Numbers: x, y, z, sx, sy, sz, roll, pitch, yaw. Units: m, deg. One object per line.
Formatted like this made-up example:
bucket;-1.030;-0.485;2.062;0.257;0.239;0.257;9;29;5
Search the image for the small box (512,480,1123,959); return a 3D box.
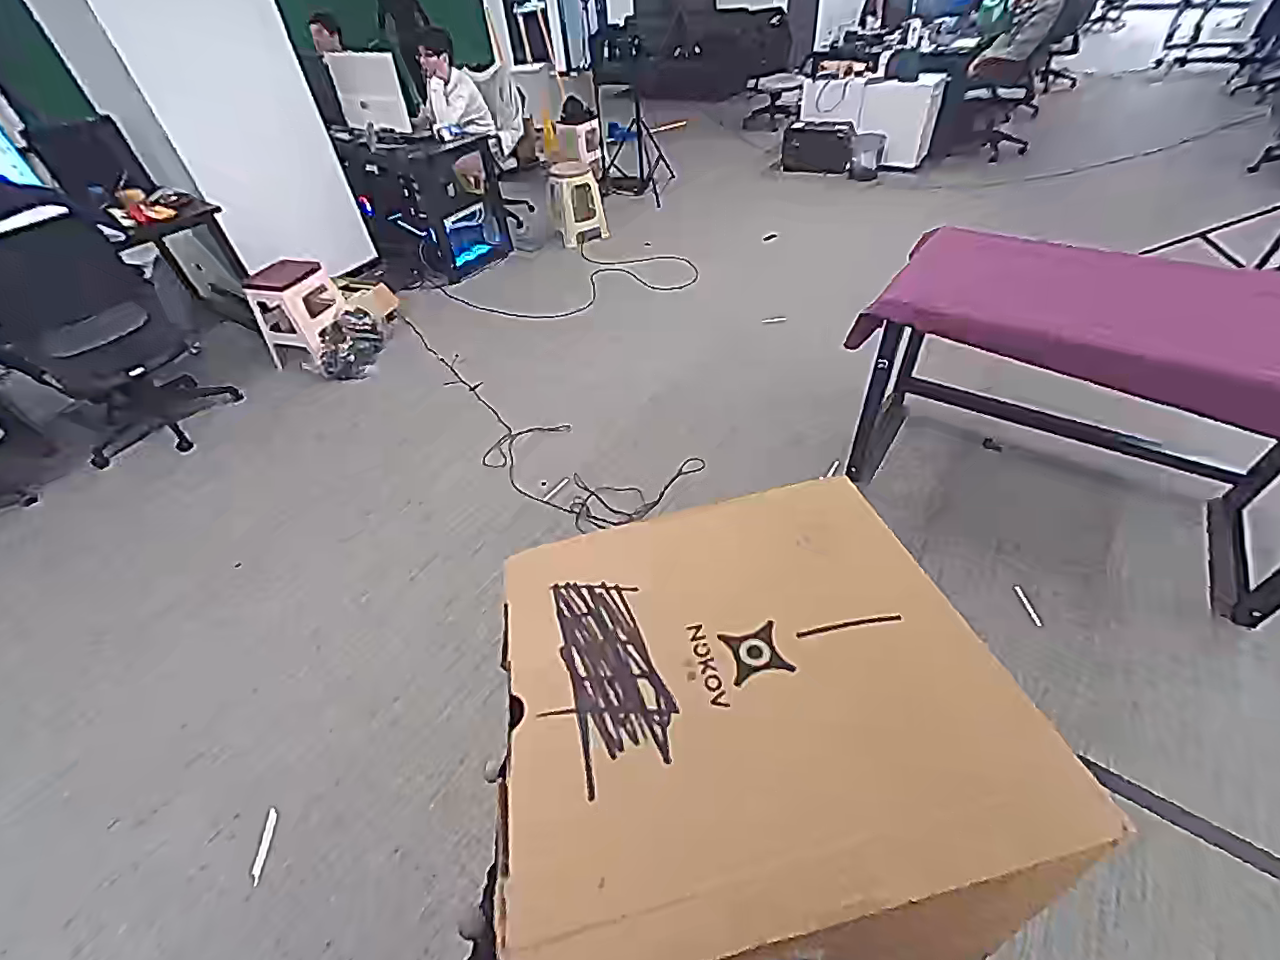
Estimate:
small box;0.048;0.128;0.255;0.179;0.176;0.168;-12;40;-4
